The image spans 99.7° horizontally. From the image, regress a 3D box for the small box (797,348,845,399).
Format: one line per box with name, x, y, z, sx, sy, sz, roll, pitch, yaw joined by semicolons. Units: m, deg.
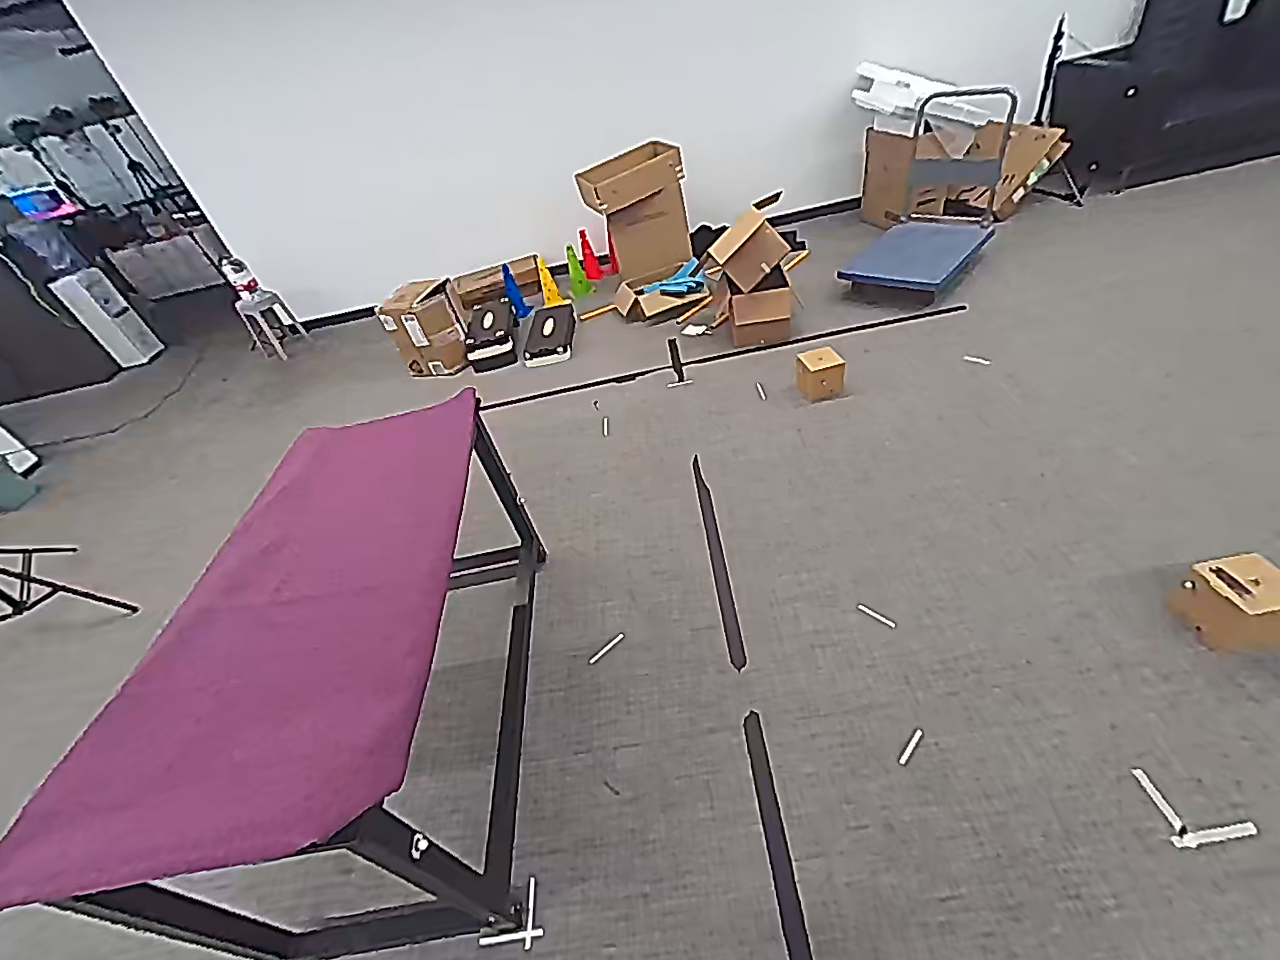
small box;0.866;-0.503;2.592;0.168;0.176;0.179;-16;39;-1
